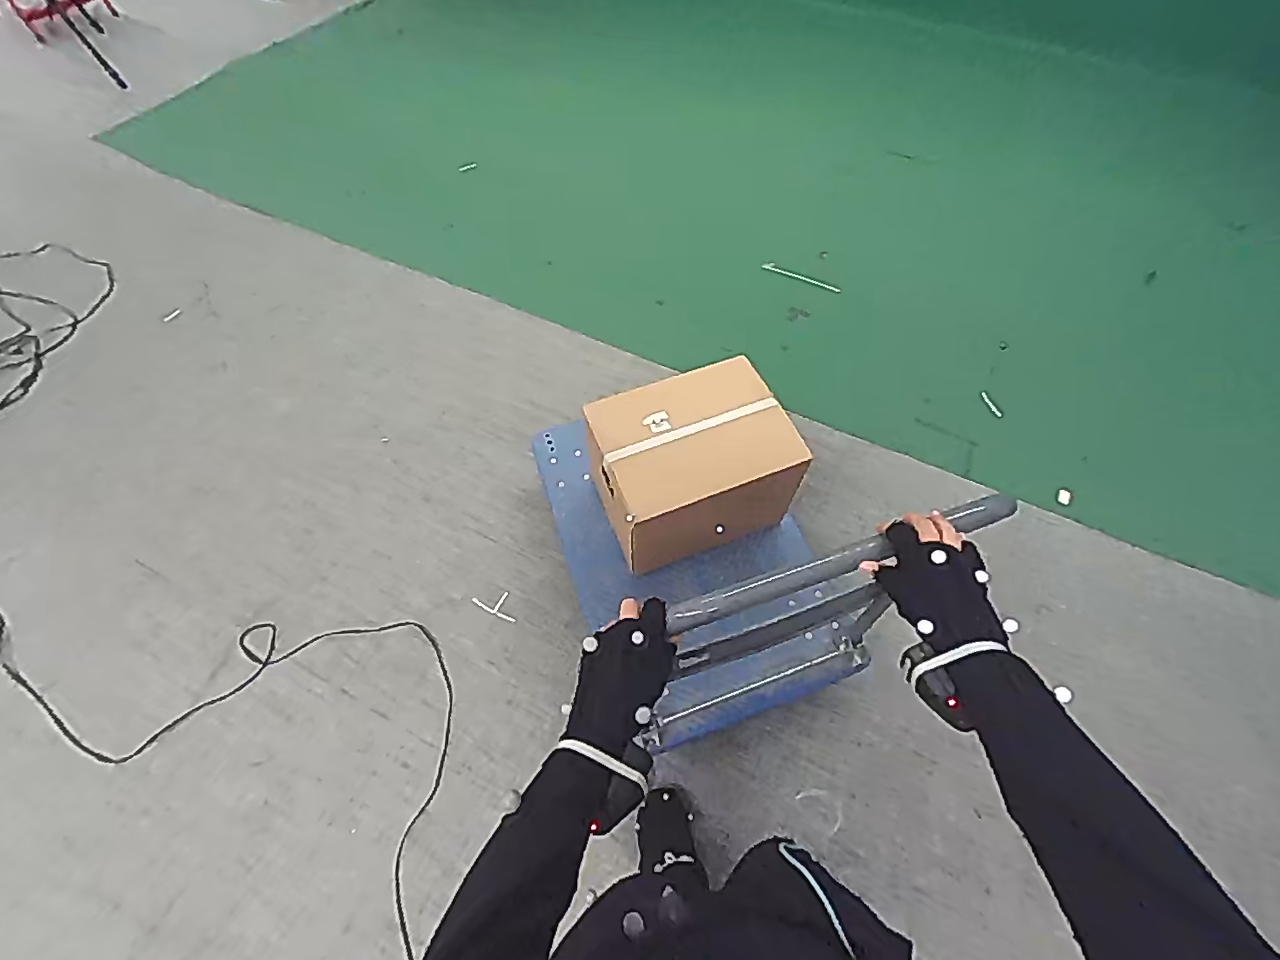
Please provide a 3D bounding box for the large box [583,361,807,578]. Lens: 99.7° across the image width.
[{"bbox_3d":[0.116,-0.018,1.287,0.408,0.320,0.320,-20,61,-10],"label":"large box"}]
